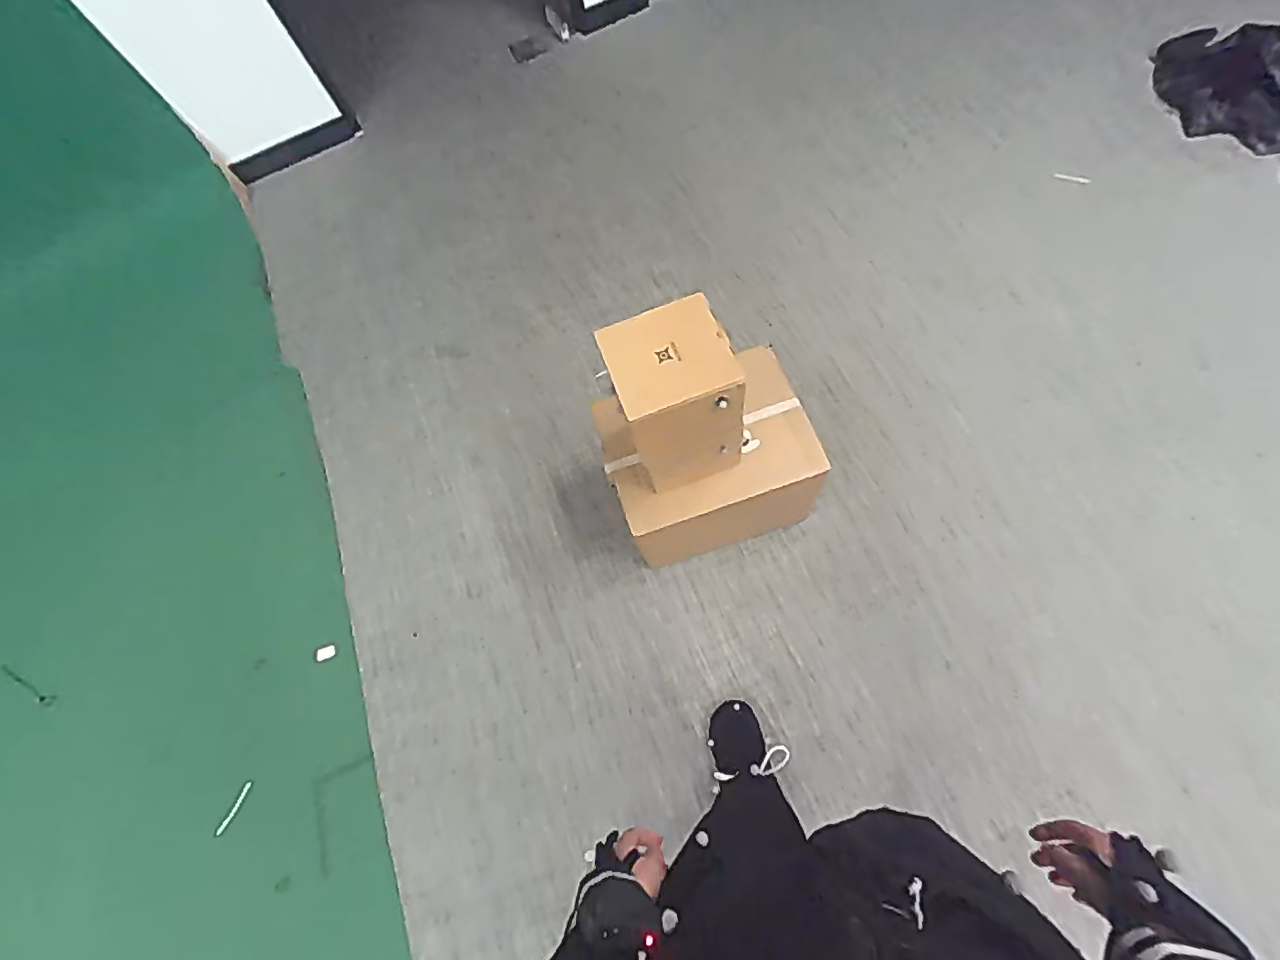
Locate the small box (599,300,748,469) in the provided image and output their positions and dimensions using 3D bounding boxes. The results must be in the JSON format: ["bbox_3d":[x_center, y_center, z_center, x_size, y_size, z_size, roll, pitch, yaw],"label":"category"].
[{"bbox_3d":[0.055,-0.139,0.843,0.179,0.176,0.168,-21,67,-1],"label":"small box"}]

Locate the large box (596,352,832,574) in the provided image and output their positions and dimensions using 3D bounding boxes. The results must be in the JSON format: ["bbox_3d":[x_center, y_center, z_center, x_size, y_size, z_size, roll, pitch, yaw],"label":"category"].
[{"bbox_3d":[0.154,-0.021,1.224,0.408,0.320,0.320,-19,68,-1],"label":"large box"}]
